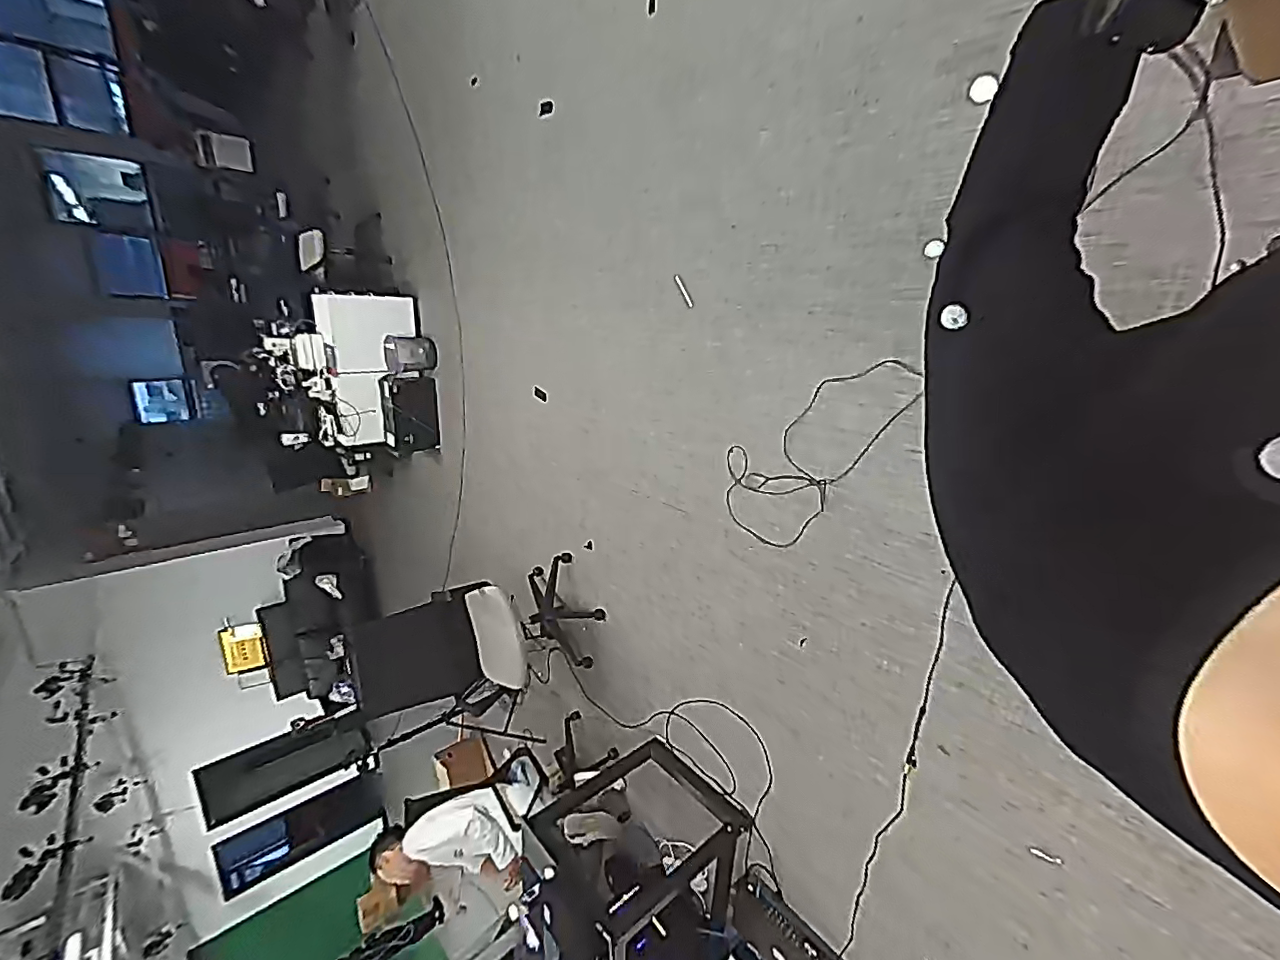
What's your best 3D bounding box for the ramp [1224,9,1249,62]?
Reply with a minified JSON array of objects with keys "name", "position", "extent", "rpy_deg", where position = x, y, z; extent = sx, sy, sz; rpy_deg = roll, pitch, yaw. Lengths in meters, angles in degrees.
[{"name":"ramp","position":[1.147,-1.130,0.587],"extent":[0.509,0.206,0.991],"rpy_deg":[18,114,45]}]
